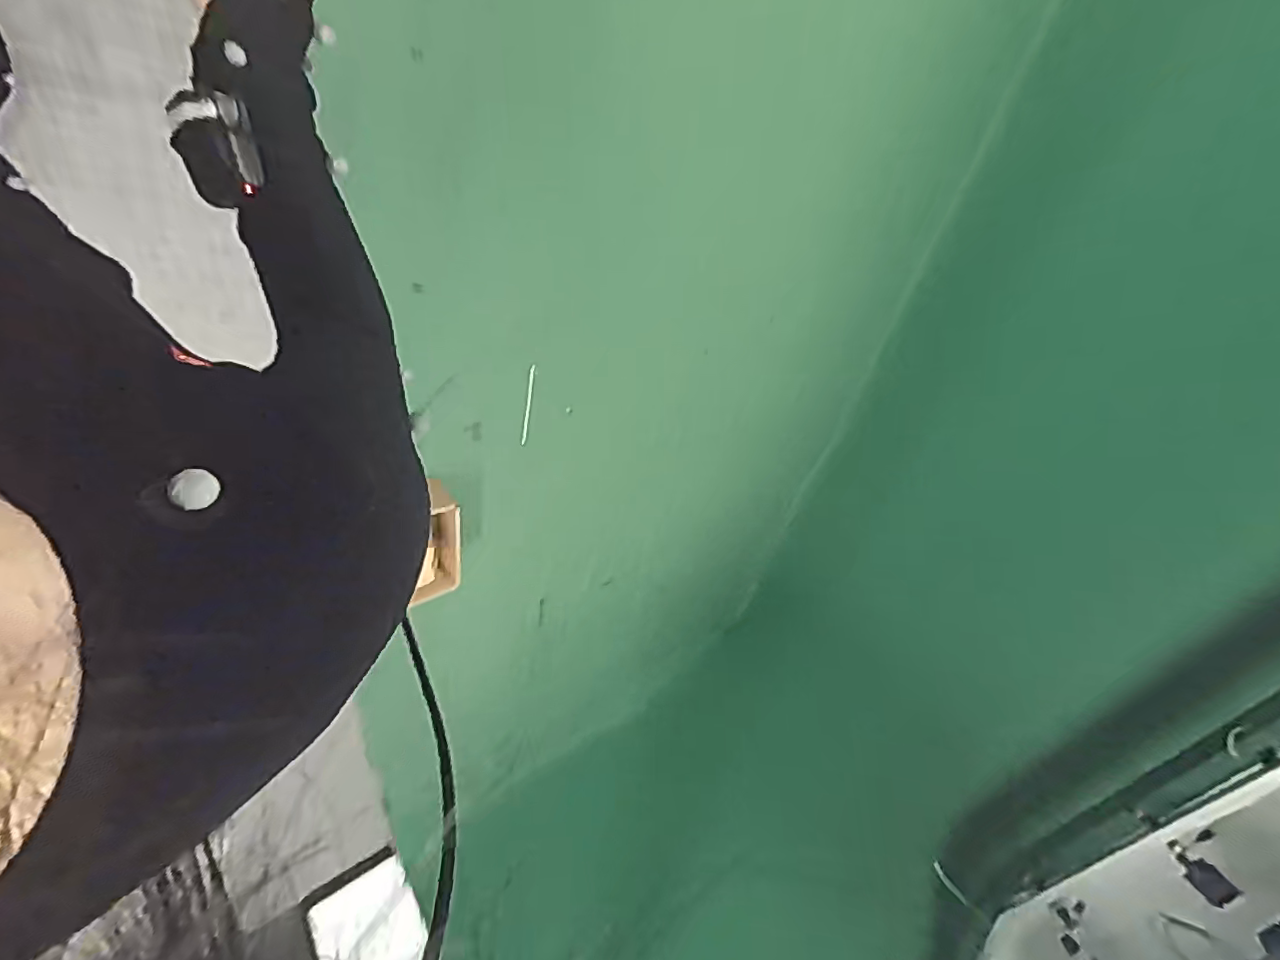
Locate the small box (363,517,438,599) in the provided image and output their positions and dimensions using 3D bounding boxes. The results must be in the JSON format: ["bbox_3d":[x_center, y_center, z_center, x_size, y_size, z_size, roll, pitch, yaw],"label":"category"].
[{"bbox_3d":[-0.771,0.244,1.742,0.179,0.176,0.168,-17,138,-36],"label":"small box"}]
